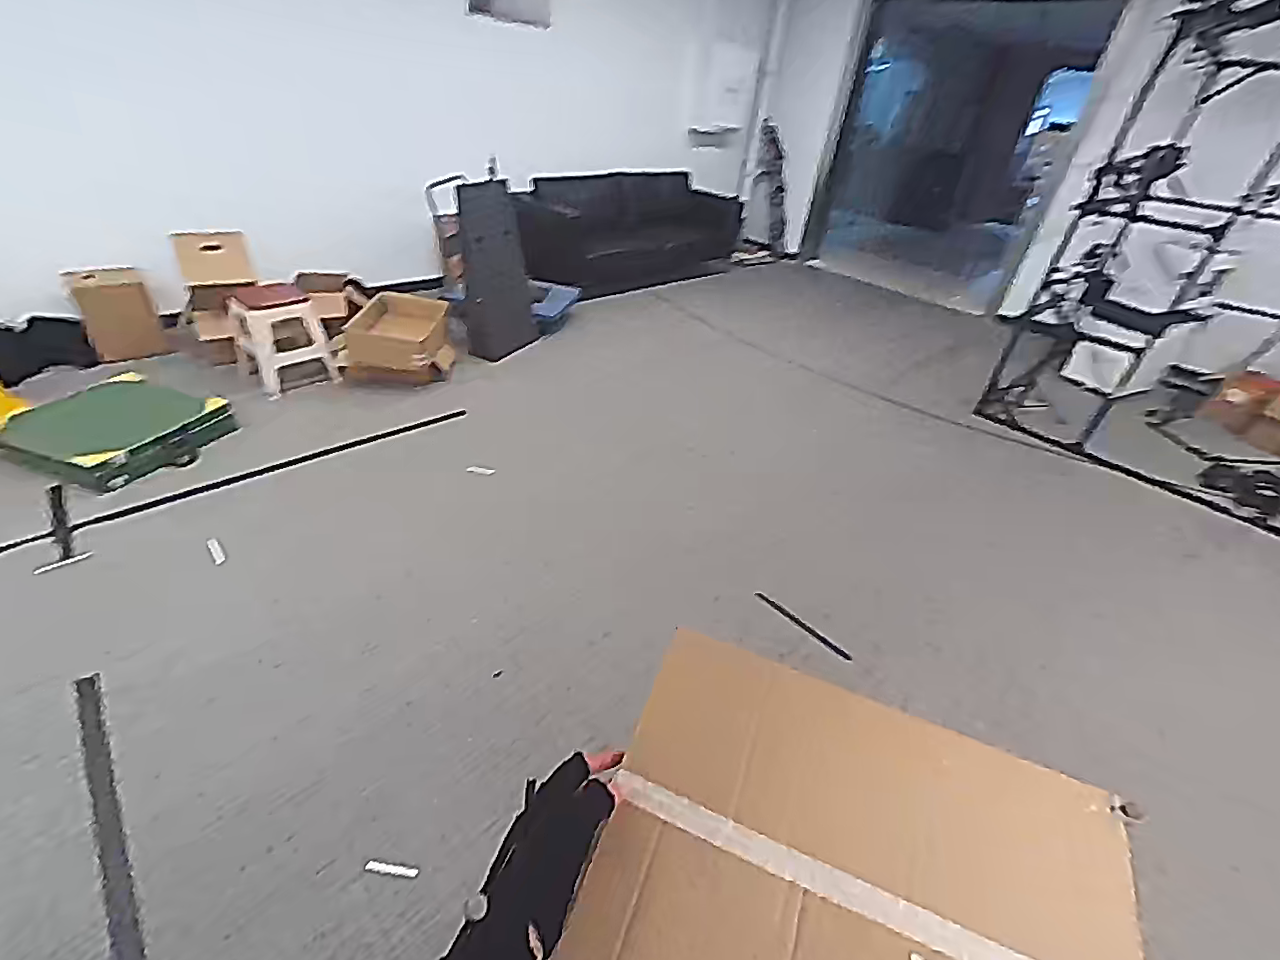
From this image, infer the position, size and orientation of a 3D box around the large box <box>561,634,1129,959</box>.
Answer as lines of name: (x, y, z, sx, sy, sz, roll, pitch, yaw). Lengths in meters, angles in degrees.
large box: (0.169, 0.420, 0.550, 0.408, 0.320, 0.320, 18, 53, 14)
